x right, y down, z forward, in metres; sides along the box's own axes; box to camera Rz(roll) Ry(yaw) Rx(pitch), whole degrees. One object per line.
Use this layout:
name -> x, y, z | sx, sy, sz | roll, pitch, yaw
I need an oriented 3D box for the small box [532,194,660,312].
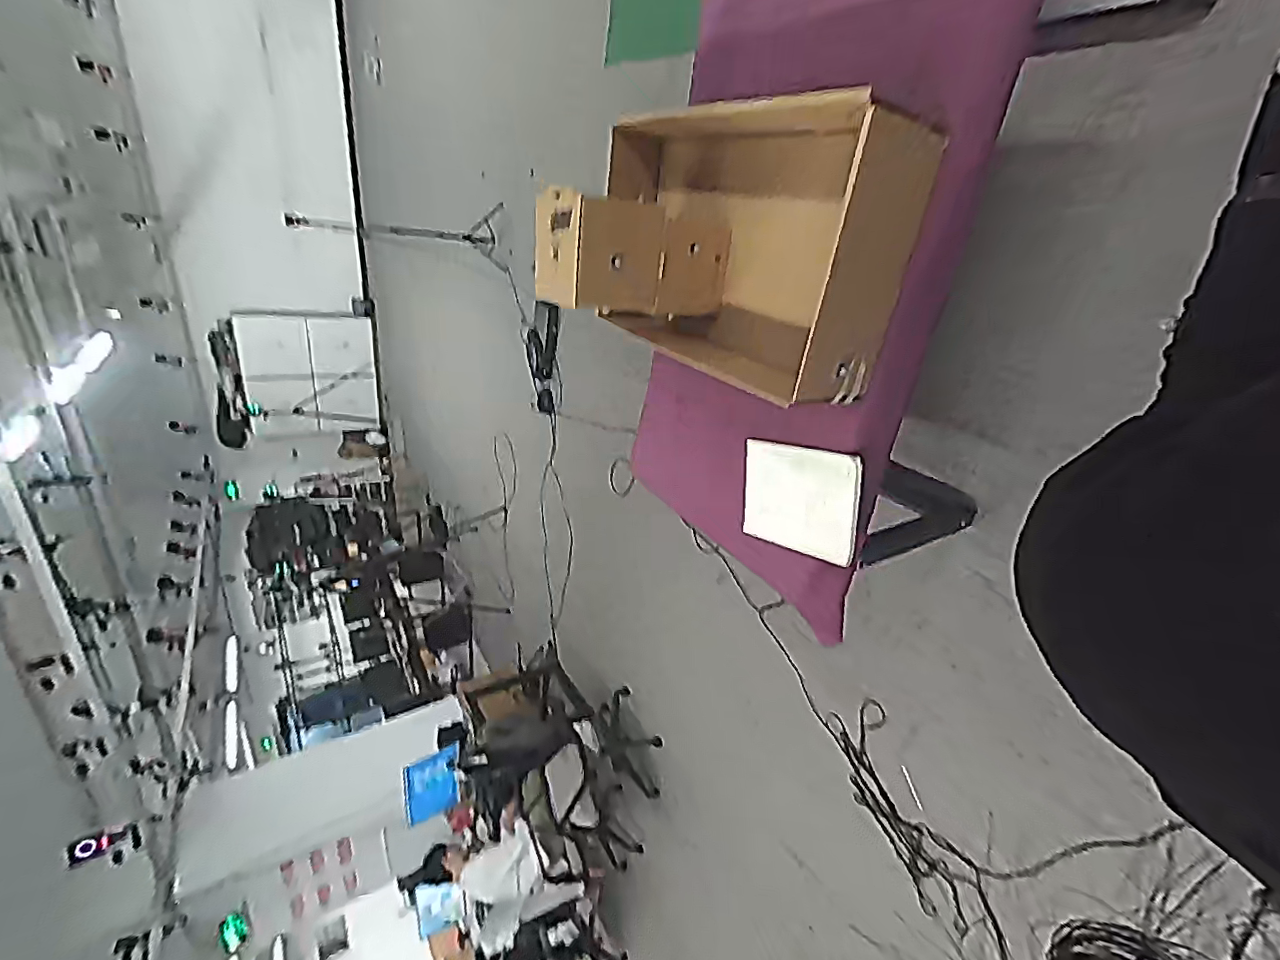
small box -> -0.080, -0.406, 0.975 | 0.168, 0.176, 0.179 | 33, 126, 47
